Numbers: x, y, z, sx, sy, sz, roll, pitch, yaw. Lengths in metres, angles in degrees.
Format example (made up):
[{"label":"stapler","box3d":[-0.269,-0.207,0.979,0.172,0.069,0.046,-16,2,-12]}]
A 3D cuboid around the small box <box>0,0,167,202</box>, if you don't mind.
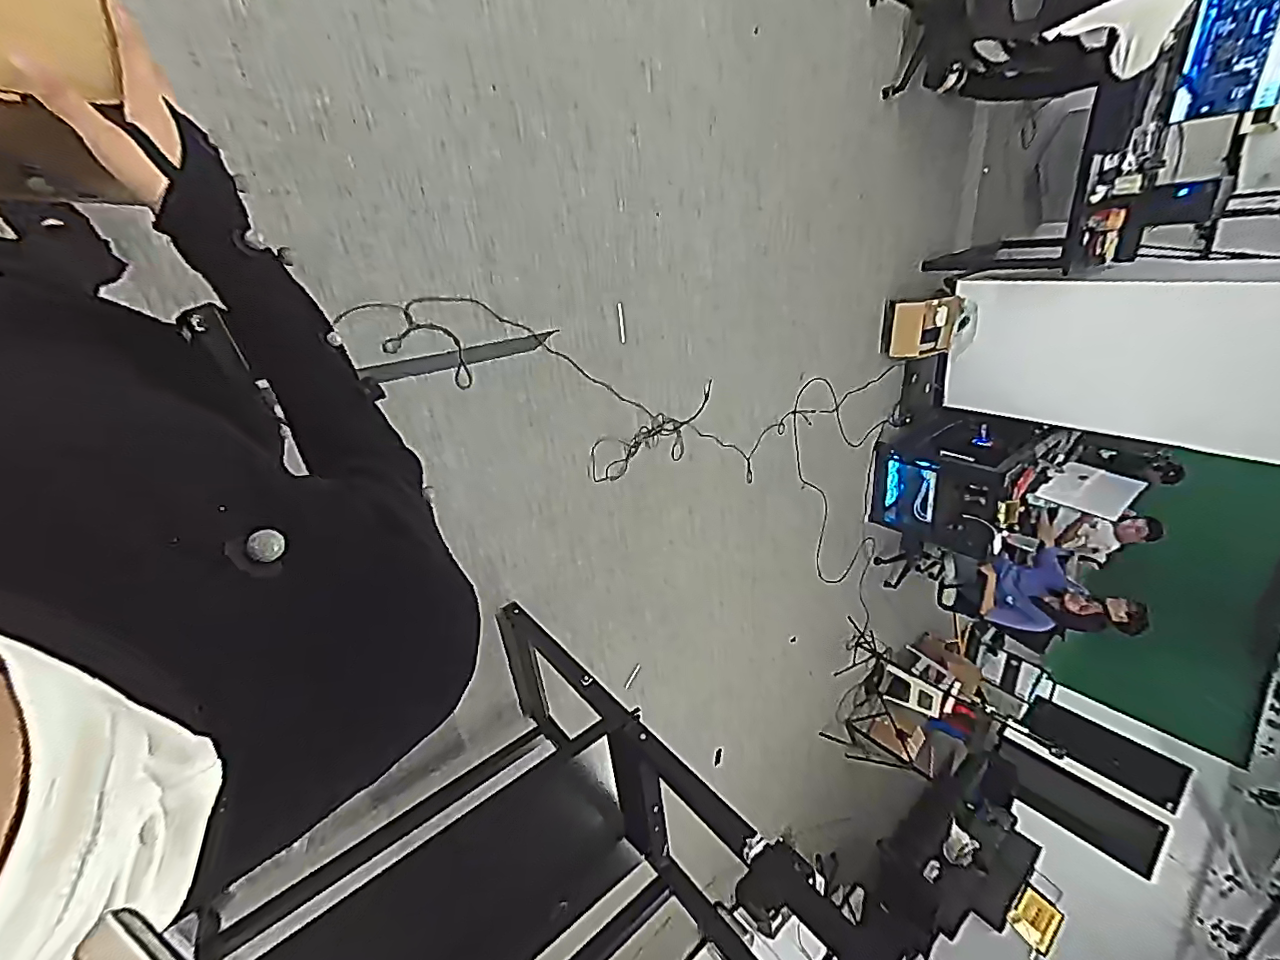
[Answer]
[{"label":"small box","box3d":[-0.497,-0.343,0.412,0.168,0.176,0.179,-13,97,-33]}]
